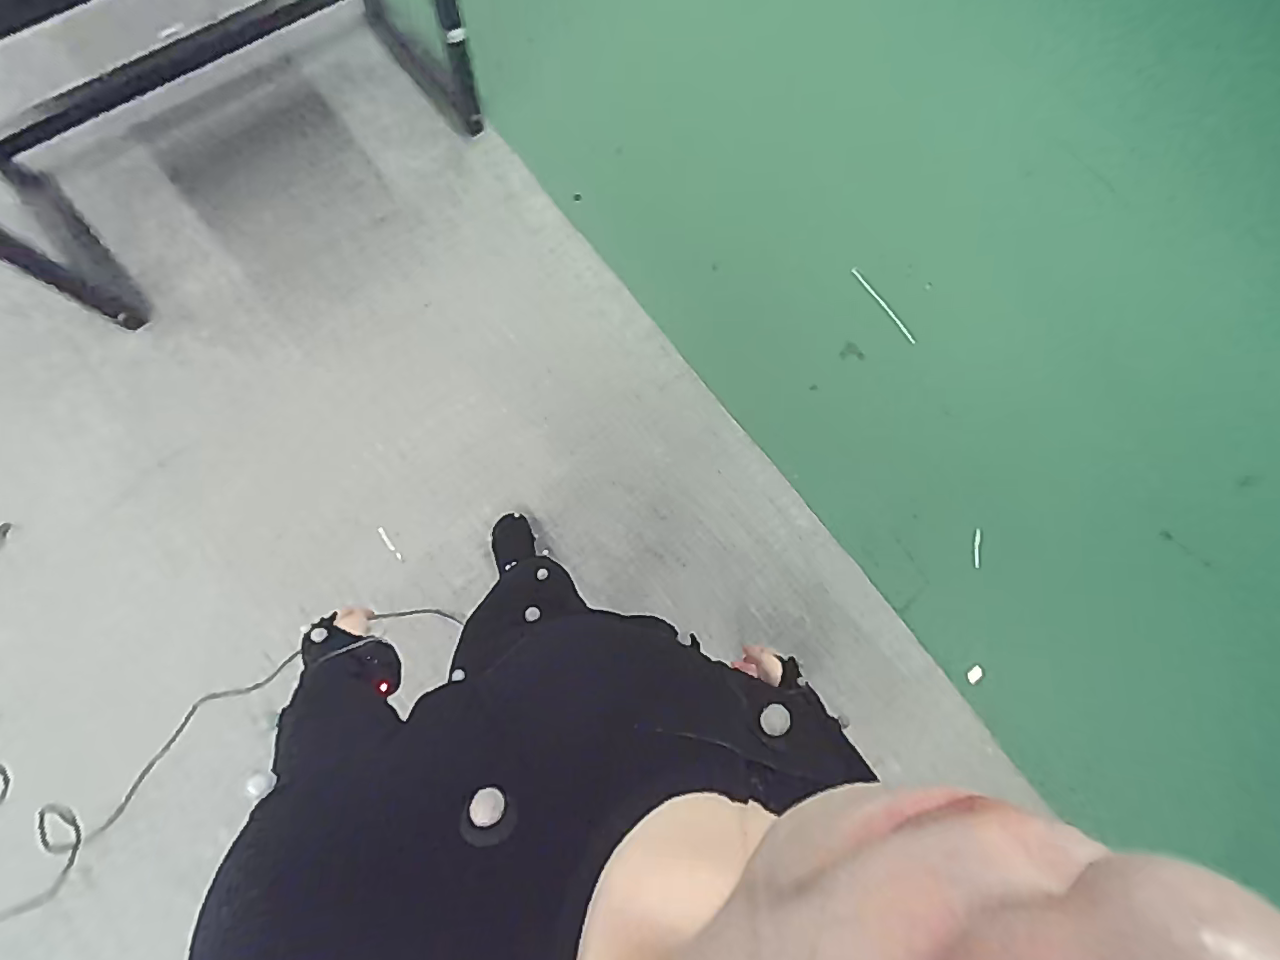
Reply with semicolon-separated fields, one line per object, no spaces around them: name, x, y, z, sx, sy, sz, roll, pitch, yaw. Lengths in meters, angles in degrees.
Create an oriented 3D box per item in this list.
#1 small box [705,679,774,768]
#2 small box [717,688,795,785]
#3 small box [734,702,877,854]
small box;0.288;0.632;1.387;0.168;0.176;0.179;-33;84;-11
small box;0.302;0.603;1.228;0.168;0.176;0.179;-36;84;-12
small box;0.316;0.571;1.066;0.168;0.176;0.179;-36;85;-13
